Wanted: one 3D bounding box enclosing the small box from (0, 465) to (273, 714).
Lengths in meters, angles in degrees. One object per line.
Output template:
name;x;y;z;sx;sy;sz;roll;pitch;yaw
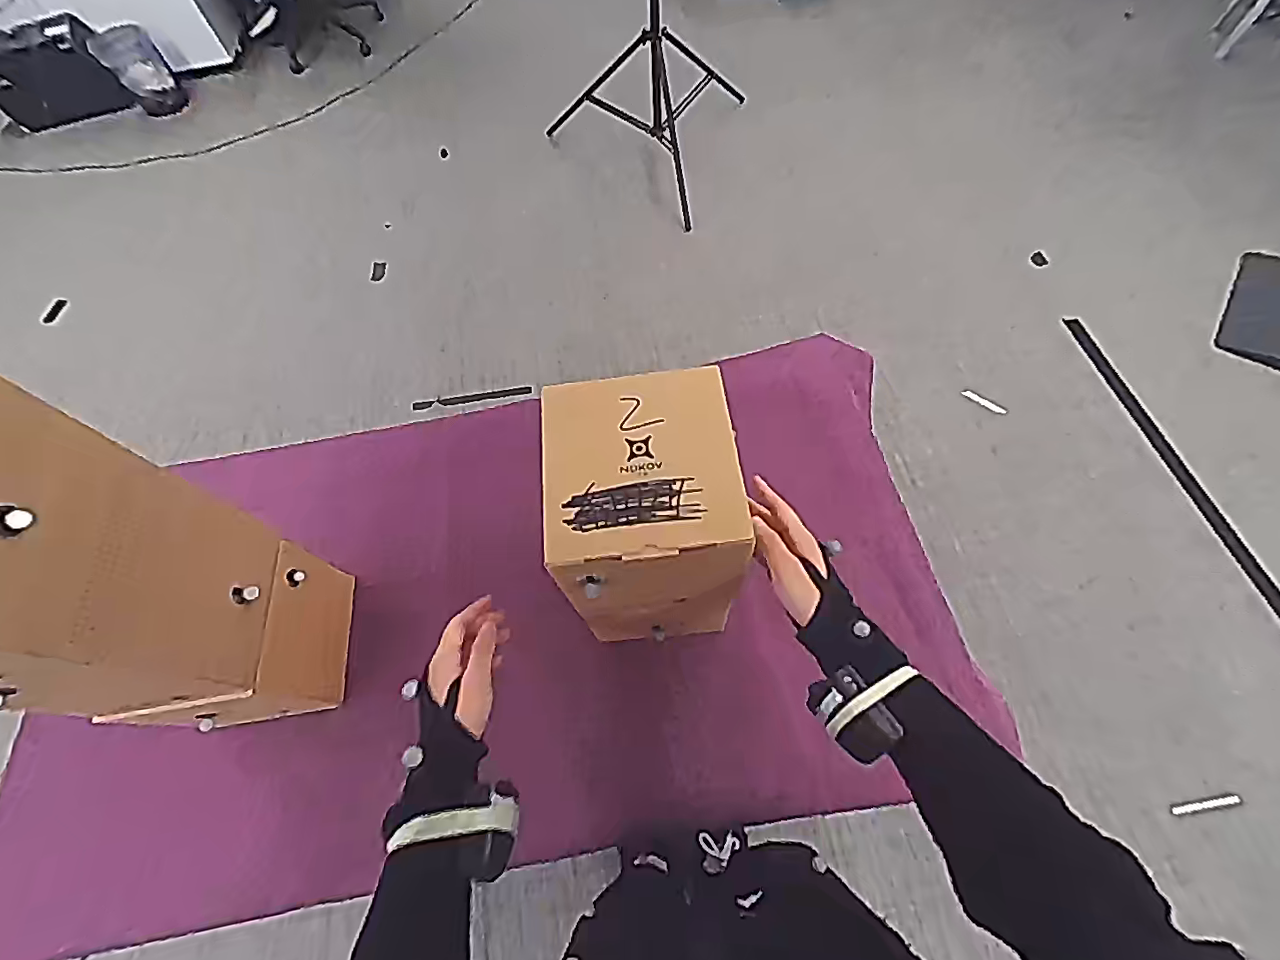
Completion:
small box;-0.491;0.111;0.516;0.168;0.176;0.179;-10;62;-1

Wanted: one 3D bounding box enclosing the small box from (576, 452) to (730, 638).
small box;0.014;0.087;0.674;0.168;0.176;0.179;-6;63;2

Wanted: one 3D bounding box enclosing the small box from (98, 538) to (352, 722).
small box;-0.479;0.190;0.659;0.168;0.176;0.179;-9;62;-1
